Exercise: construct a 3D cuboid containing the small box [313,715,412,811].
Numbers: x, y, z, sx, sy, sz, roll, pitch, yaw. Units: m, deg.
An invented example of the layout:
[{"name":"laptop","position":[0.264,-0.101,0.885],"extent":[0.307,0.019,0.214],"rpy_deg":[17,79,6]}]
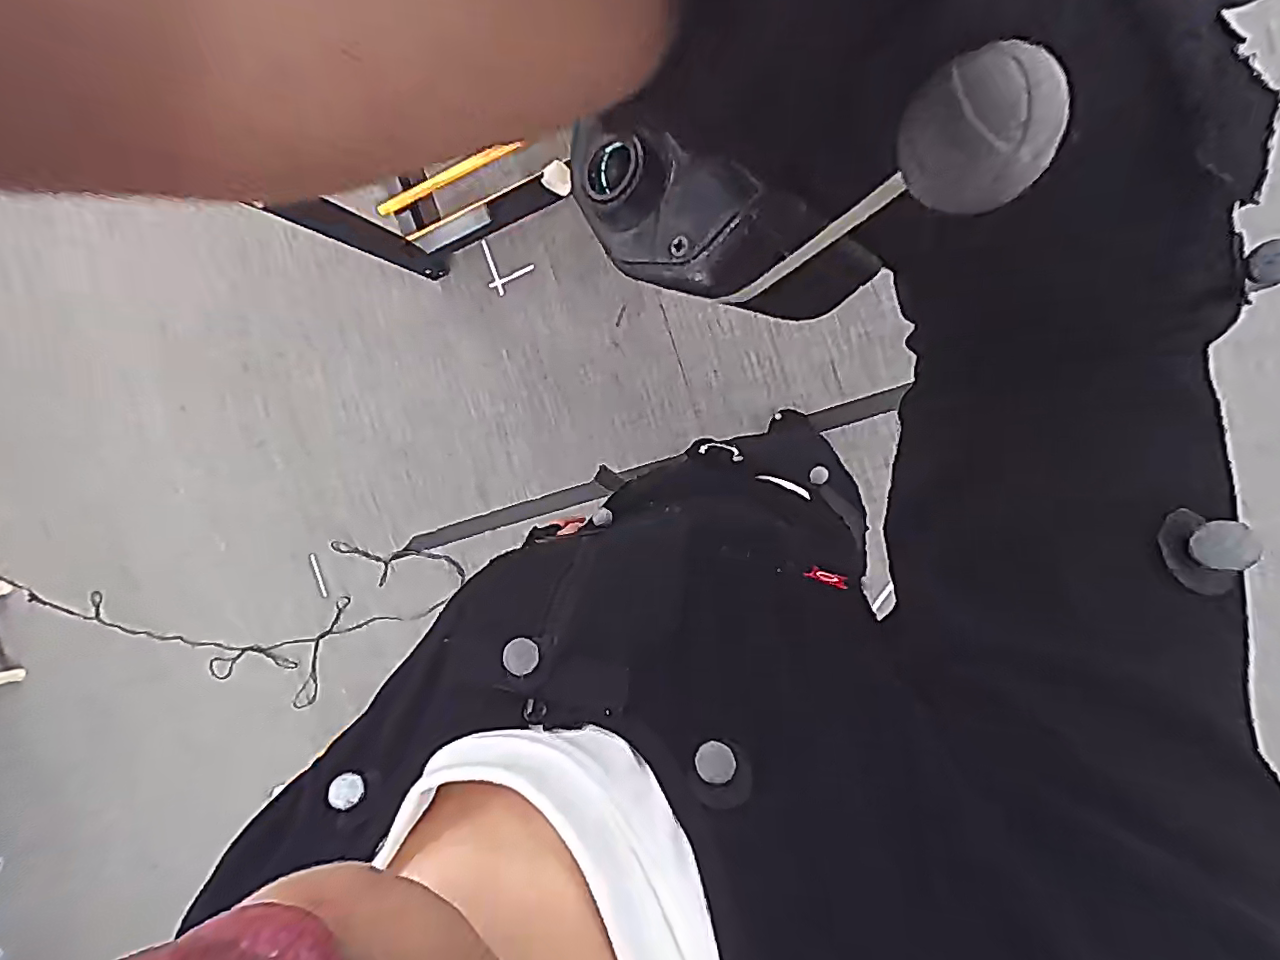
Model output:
[{"name":"small box","position":[-0.803,0.821,1.580],"extent":[0.168,0.176,0.179],"rpy_deg":[-18,92,14]}]
